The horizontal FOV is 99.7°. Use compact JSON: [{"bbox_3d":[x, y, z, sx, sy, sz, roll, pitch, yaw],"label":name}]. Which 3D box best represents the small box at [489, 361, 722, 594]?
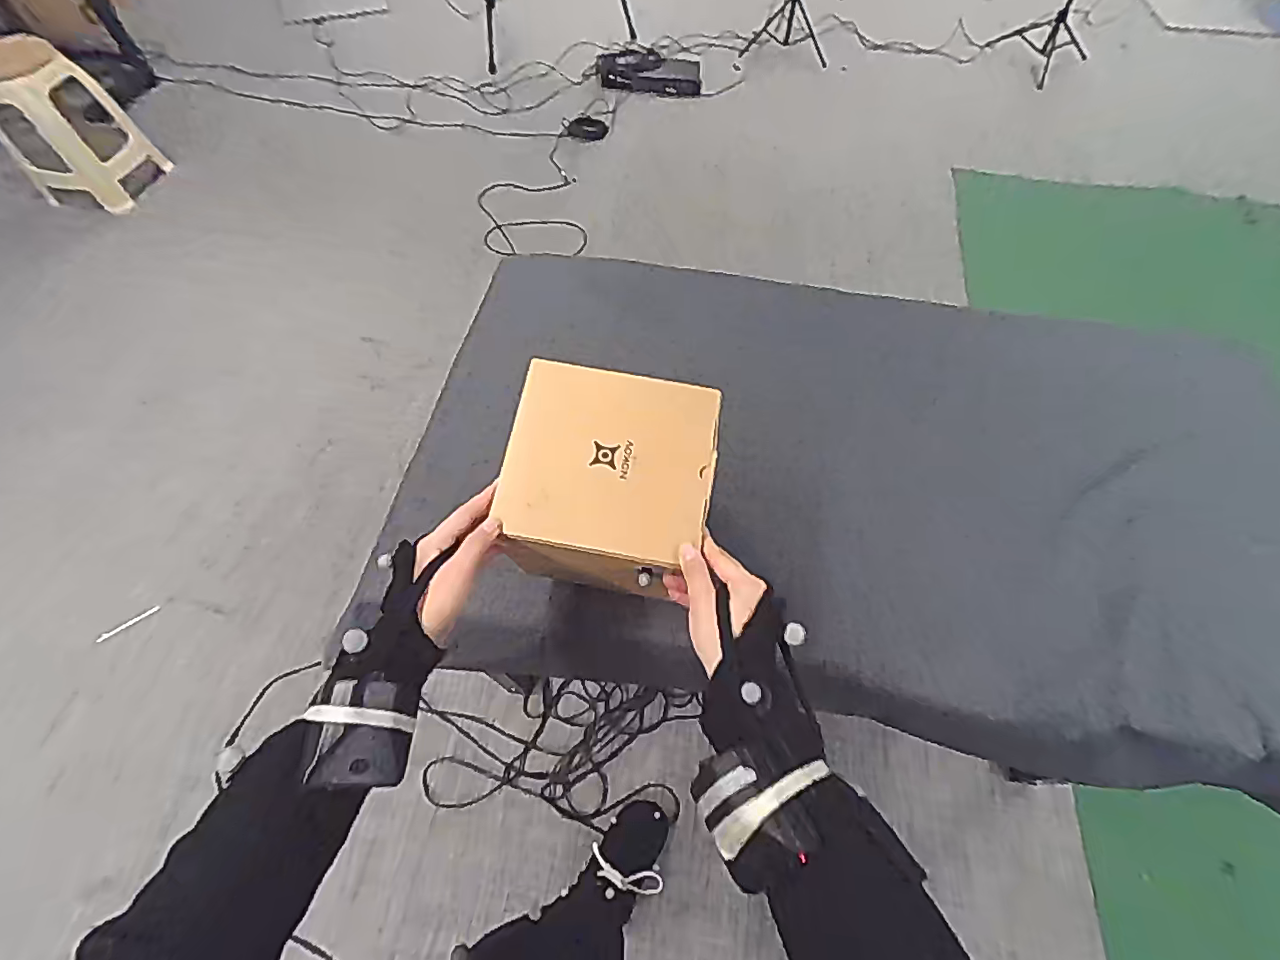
[{"bbox_3d":[-0.027,0.008,0.535,0.179,0.176,0.168,10,69,1],"label":"small box"}]
